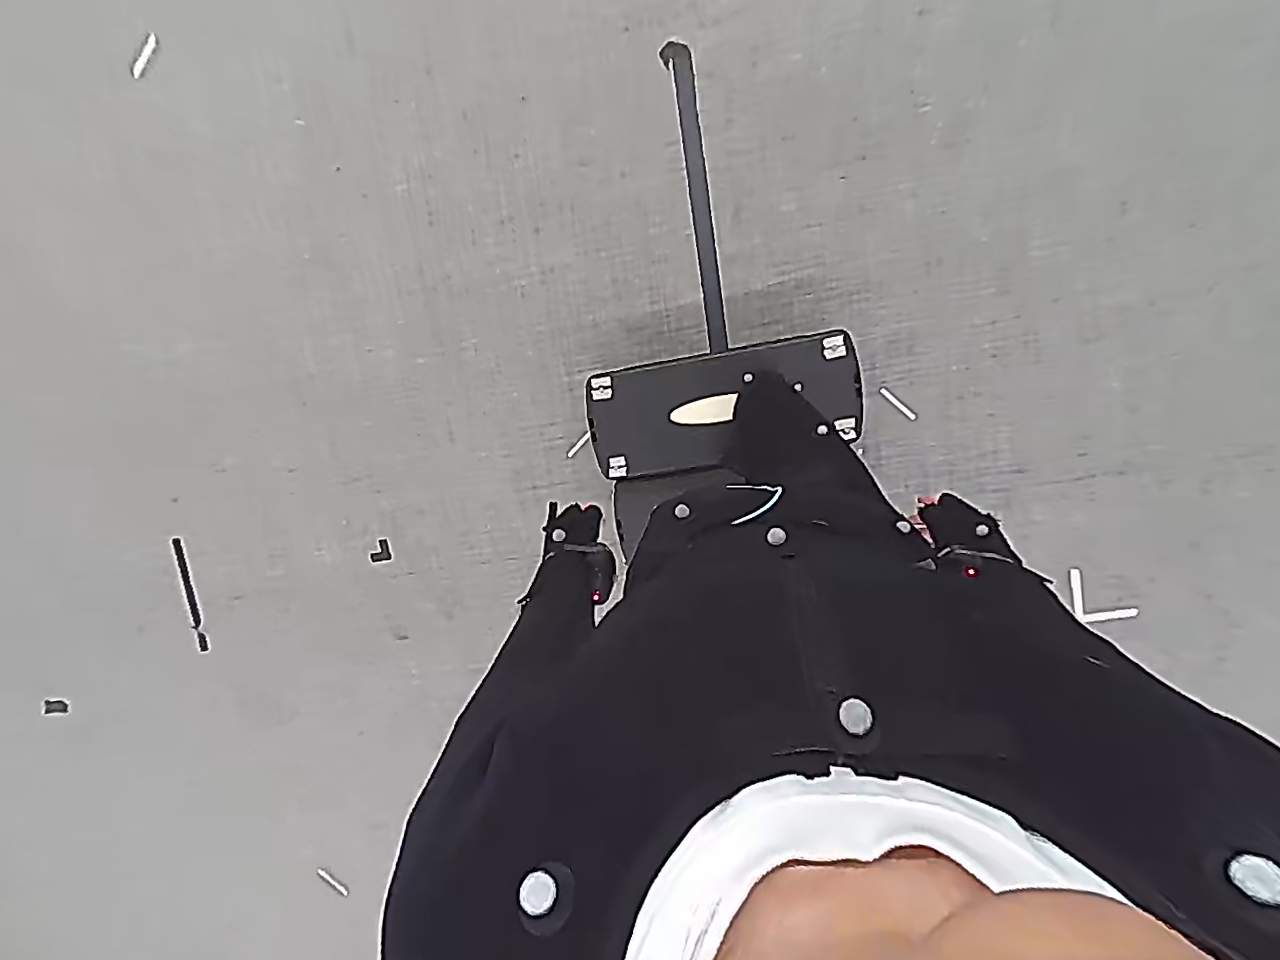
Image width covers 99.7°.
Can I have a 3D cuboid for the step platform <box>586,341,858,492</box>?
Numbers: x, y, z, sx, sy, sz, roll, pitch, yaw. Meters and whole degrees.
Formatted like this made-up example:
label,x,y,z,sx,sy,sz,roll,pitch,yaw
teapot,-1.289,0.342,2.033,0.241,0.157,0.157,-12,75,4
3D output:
label,x,y,z,sx,sy,sz,roll,pitch,yaw
step platform,0.201,-0.161,1.414,0.684,0.204,0.286,-10,99,8
